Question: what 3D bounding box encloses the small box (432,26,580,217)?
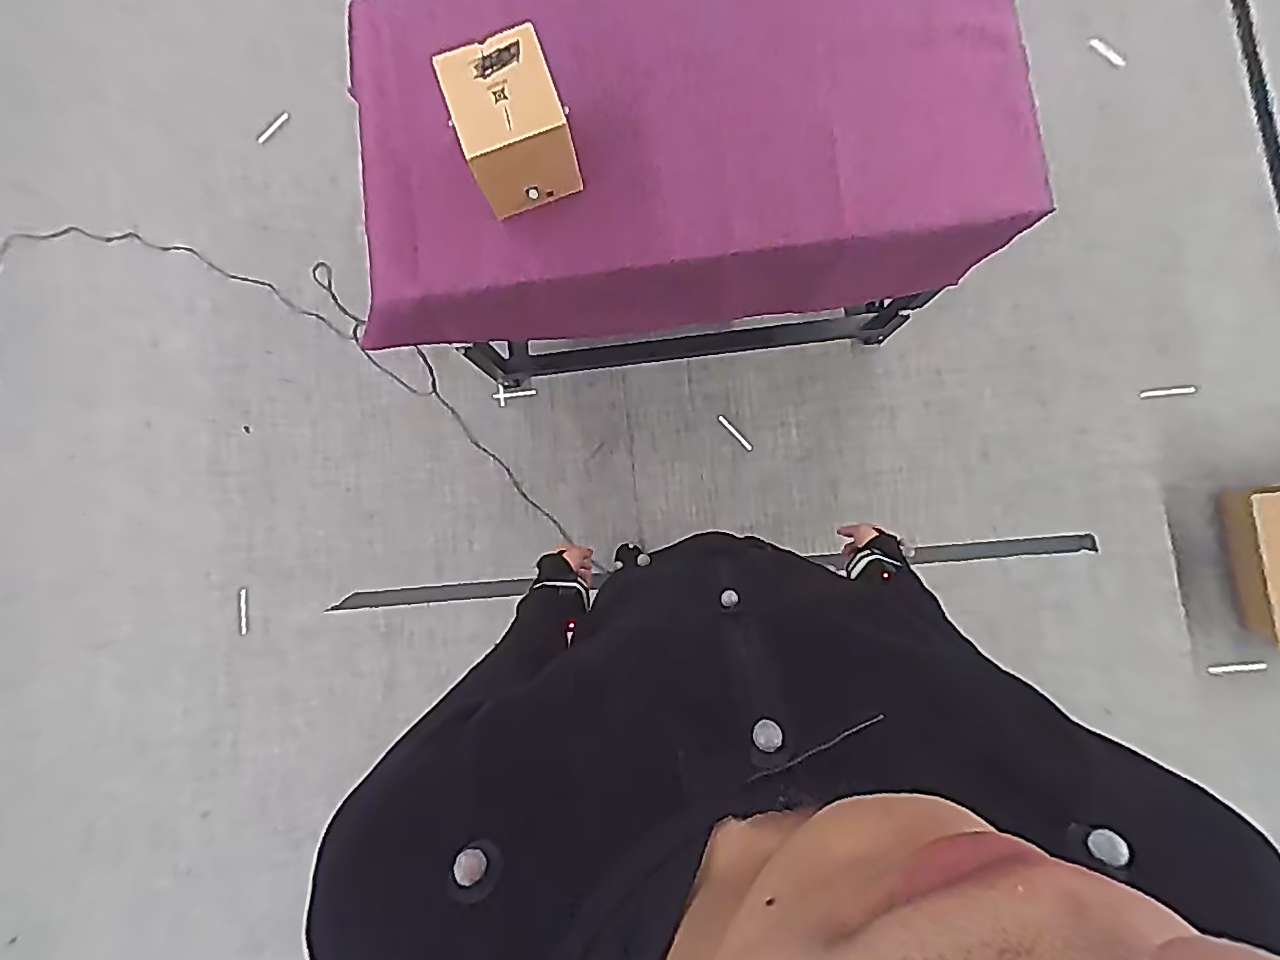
[{"bbox_3d":[-0.212,-0.580,0.897,0.168,0.176,0.179,-20,85,2],"label":"small box"}]
